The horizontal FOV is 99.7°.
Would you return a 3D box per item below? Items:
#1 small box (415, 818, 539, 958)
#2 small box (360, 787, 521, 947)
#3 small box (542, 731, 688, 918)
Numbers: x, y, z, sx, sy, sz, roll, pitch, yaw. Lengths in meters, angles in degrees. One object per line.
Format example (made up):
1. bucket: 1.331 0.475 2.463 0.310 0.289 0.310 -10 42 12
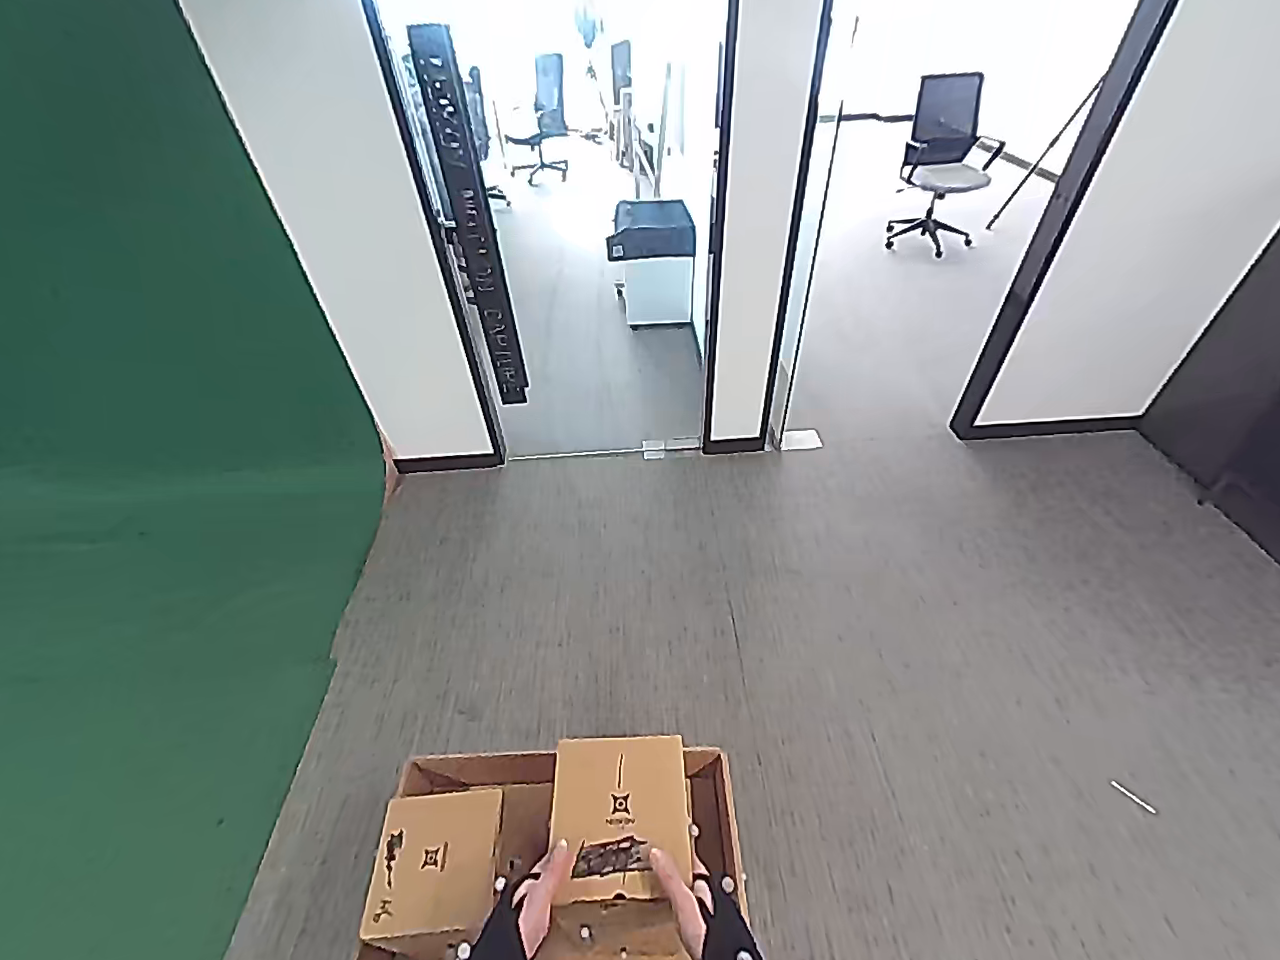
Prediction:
1. small box: -0.279 0.701 0.928 0.179 0.176 0.168 -2 44 -2
2. small box: -0.282 0.583 0.815 0.179 0.176 0.168 -3 44 -3
3. small box: -0.025 0.450 0.704 0.168 0.176 0.179 -2 42 0
